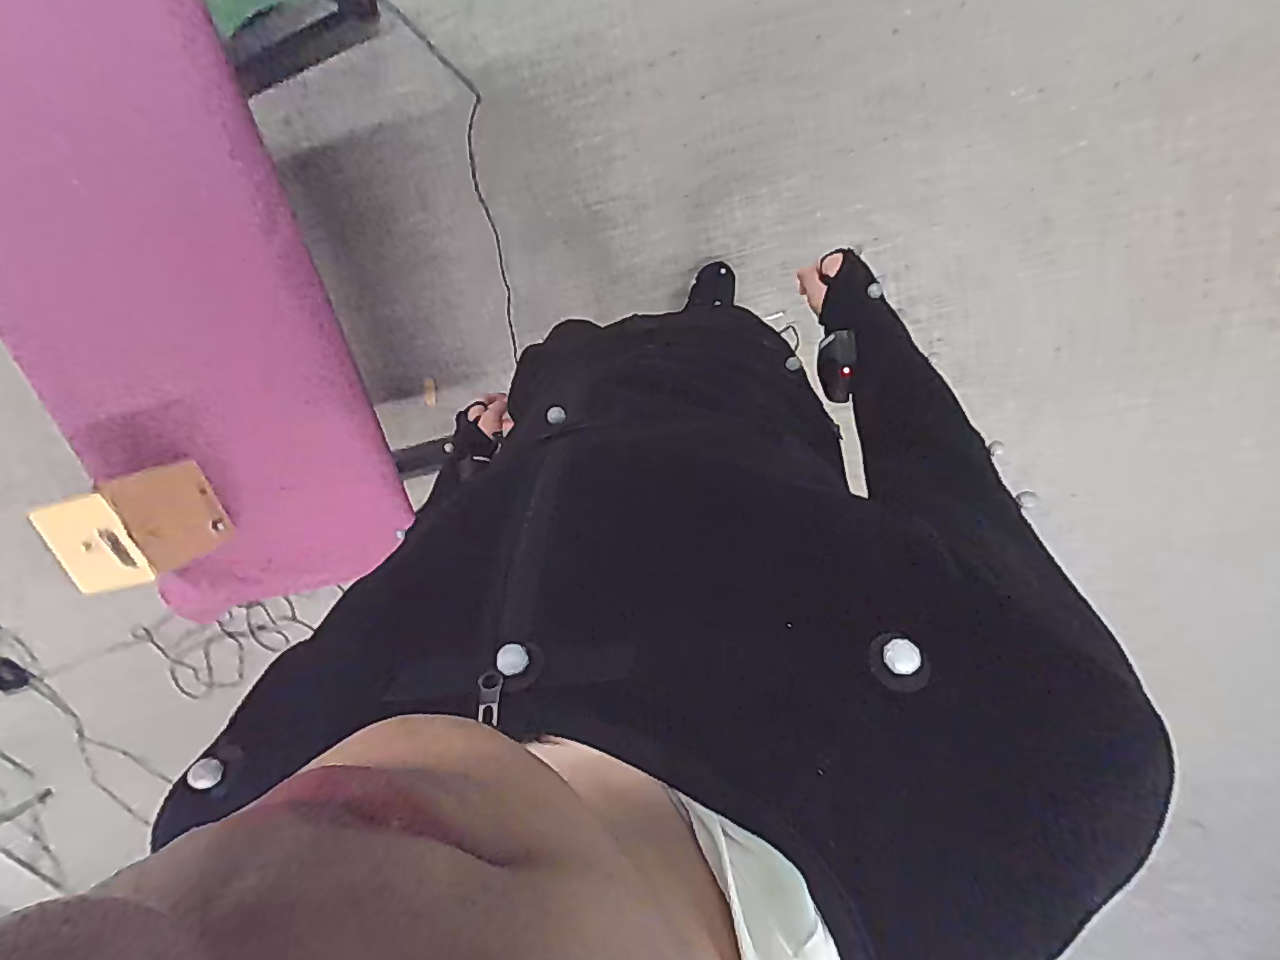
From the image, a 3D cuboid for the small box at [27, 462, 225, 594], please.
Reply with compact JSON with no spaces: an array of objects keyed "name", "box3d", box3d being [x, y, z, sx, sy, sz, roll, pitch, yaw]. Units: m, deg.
[{"name":"small box","box3d":[-0.903,0.080,0.977,0.179,0.176,0.168,-12,109,13]}]
